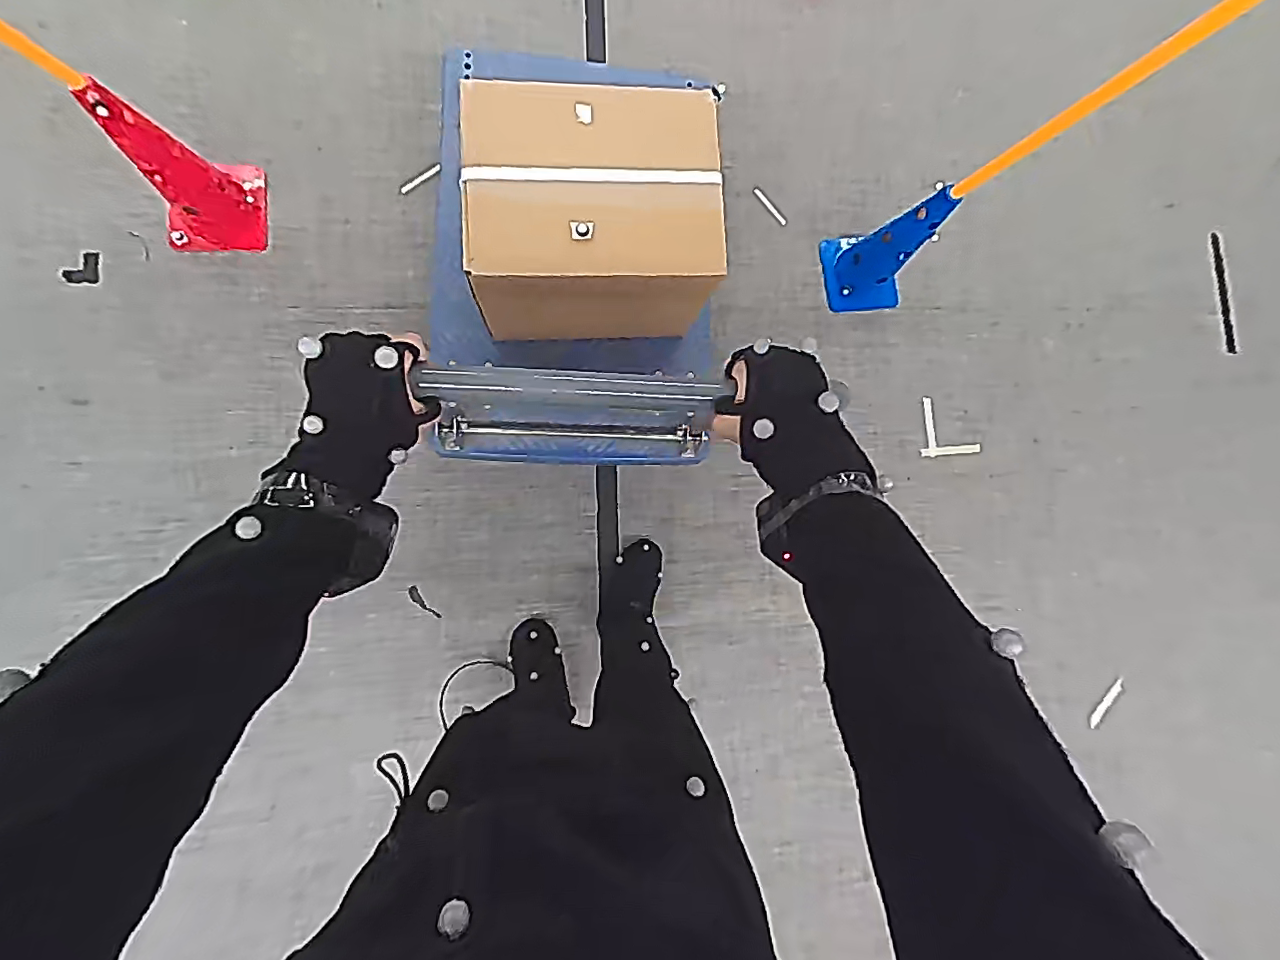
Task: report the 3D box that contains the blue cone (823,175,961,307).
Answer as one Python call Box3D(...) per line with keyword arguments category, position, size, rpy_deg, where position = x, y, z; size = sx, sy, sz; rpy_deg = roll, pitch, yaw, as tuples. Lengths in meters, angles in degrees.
Box3D(category="blue cone", position=(0.604, -0.567, 1.264), size=(0.193, 0.380, 0.192), rpy_deg=(-6, 85, -9))
